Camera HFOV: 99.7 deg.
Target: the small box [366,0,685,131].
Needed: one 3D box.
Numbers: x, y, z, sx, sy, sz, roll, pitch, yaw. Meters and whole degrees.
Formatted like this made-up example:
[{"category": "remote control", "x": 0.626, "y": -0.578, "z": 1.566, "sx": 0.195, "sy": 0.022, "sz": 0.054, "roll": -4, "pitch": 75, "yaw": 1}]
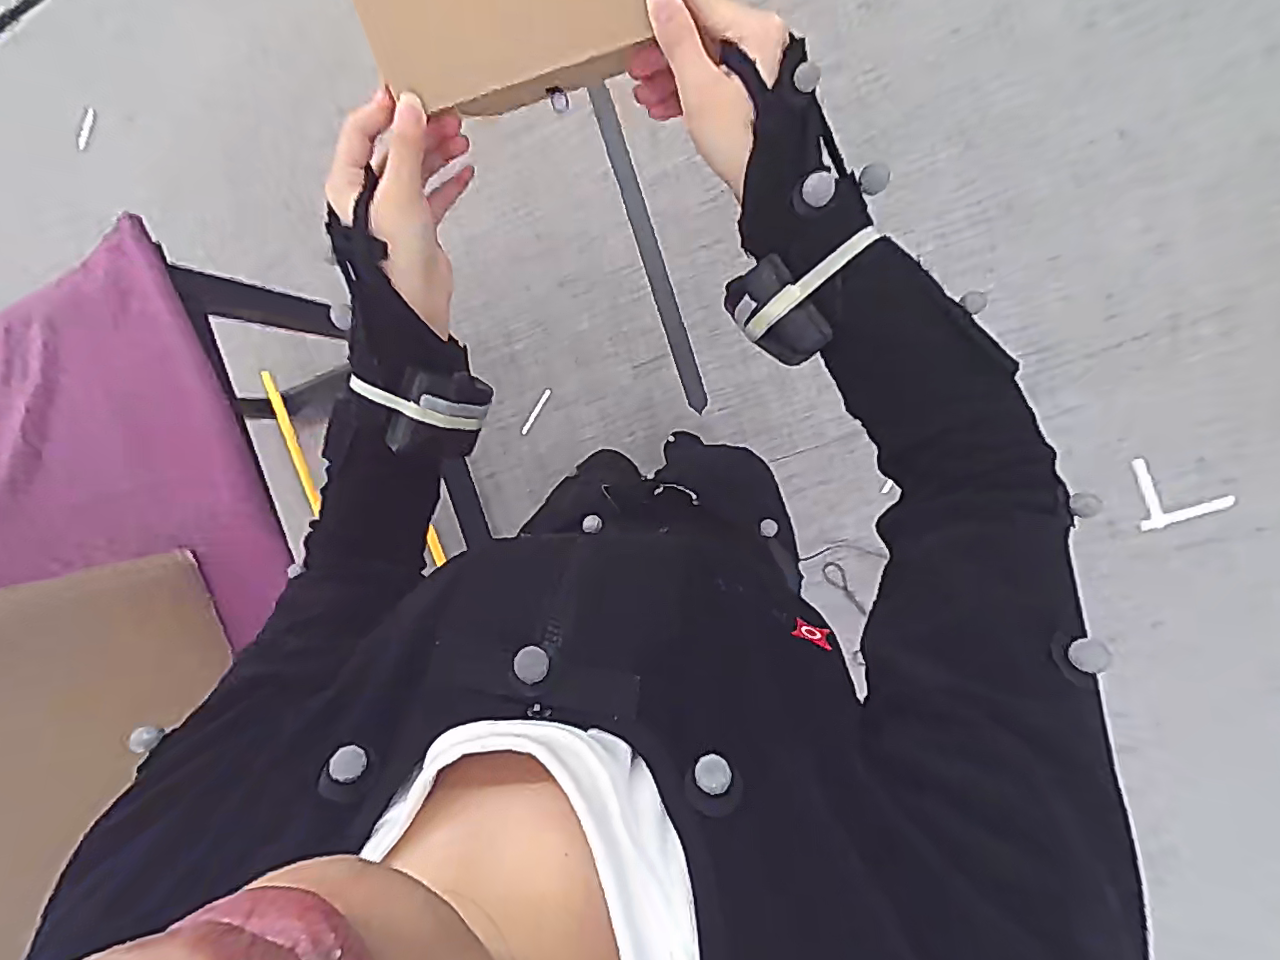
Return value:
[{"category": "small box", "x": -0.067, "y": -0.335, "z": 0.326, "sx": 0.168, "sy": 0.176, "sz": 0.179, "roll": -9, "pitch": 123, "yaw": 11}]
